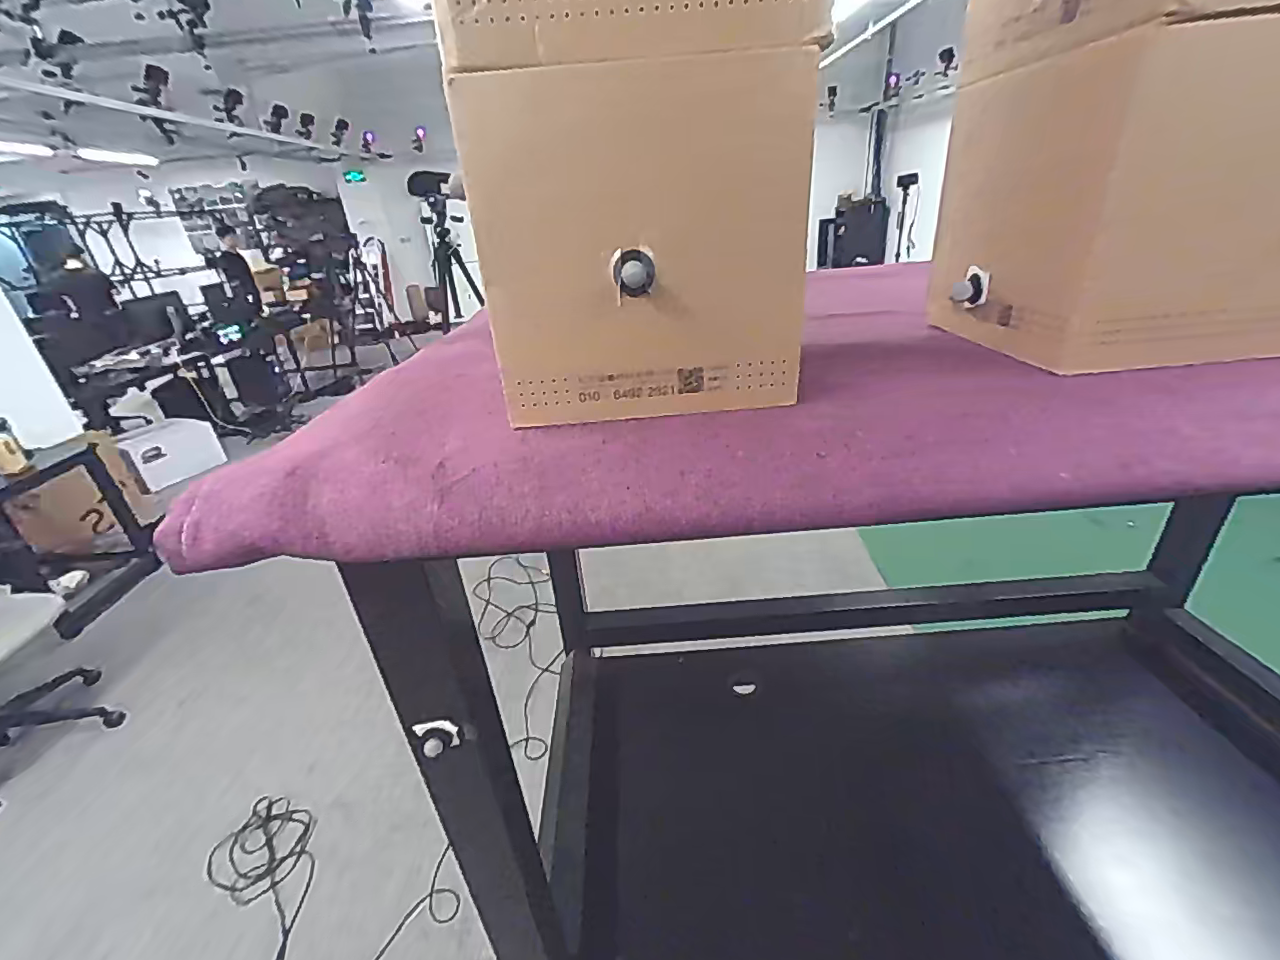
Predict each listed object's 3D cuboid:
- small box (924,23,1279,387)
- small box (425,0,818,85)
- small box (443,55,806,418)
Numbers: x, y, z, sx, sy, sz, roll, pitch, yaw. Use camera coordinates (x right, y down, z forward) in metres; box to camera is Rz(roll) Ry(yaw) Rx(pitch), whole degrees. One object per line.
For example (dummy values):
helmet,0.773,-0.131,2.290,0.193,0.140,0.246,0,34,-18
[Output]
small box,0.317,-0.168,0.351,0.179,0.176,0.168,-6,26,0
small box,-0.013,-0.287,0.270,0.179,0.176,0.168,-4,28,-1
small box,-0.004,-0.143,0.345,0.168,0.176,0.179,-4,27,-1
